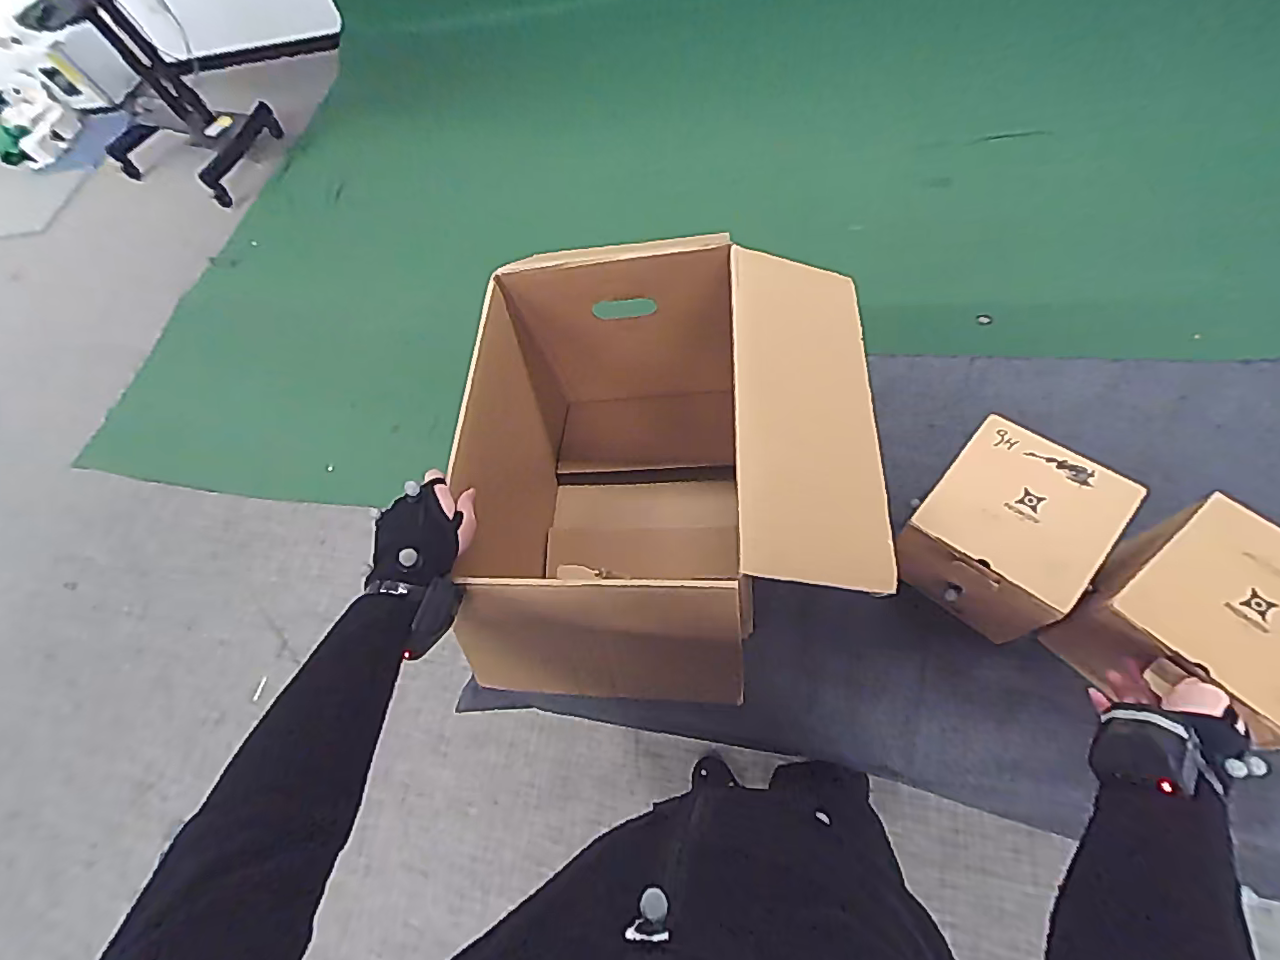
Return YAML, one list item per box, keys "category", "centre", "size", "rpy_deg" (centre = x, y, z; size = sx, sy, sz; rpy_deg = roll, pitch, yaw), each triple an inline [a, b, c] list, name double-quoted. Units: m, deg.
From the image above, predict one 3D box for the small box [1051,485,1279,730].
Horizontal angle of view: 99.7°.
- category: "small box"
  centre: [0.589, 0.144, 0.575]
  size: [0.179, 0.176, 0.168]
  rpy_deg: [-41, 64, -9]
